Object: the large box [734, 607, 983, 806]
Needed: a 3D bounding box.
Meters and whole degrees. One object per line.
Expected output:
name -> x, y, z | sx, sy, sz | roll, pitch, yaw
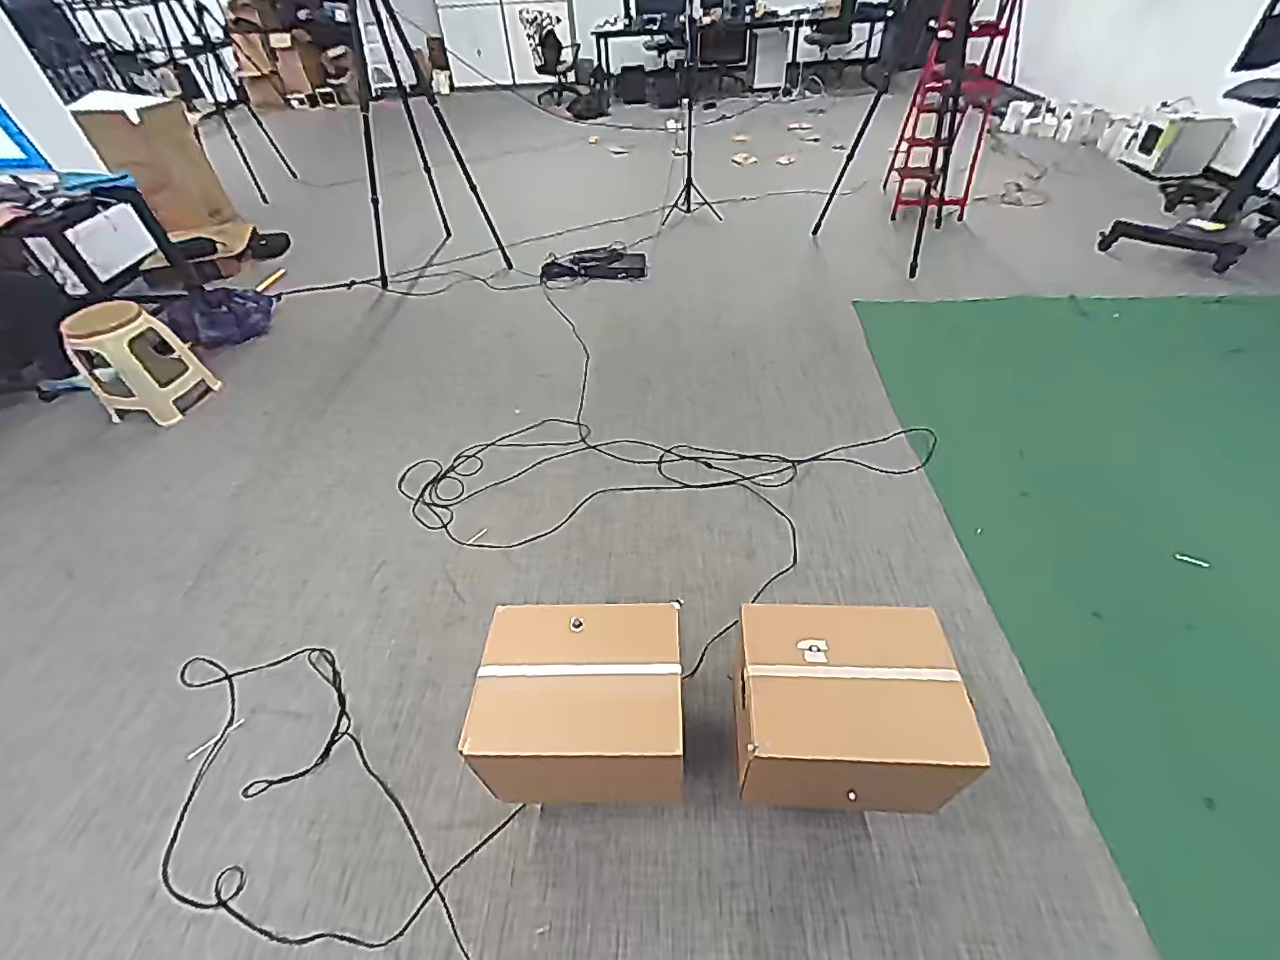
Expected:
large box -> 0.420, 0.487, 1.163 | 0.408, 0.320, 0.320 | 0, 45, 5
